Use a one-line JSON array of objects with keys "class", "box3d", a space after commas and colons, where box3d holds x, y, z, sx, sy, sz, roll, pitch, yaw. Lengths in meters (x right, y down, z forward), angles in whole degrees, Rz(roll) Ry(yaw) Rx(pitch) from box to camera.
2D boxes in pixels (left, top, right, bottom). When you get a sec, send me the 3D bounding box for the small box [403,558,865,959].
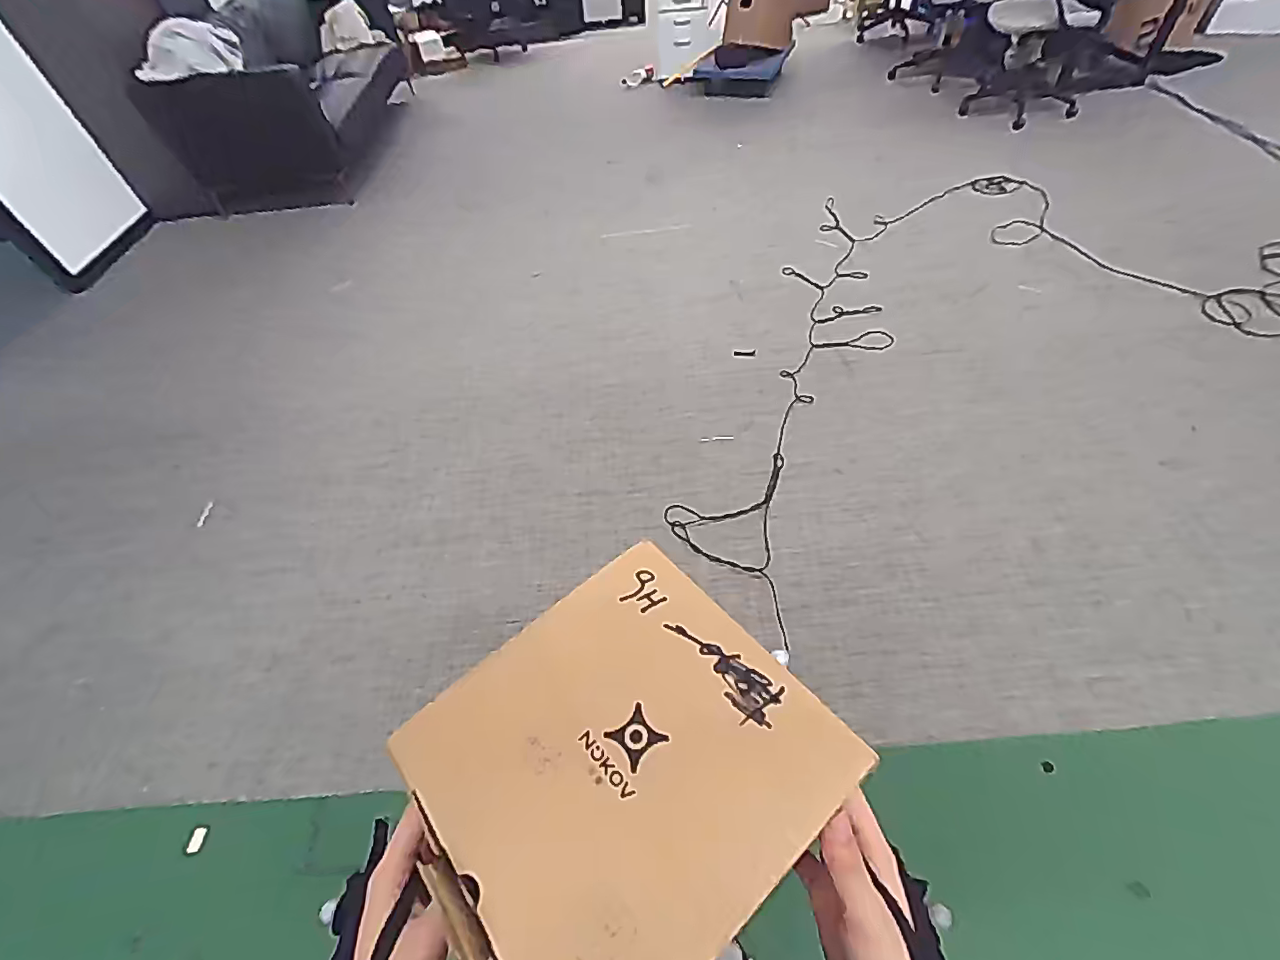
[{"class": "small box", "box3d": [0.000, 0.189, 0.329, 0.179, 0.176, 0.168, -36, 57, -21]}]
